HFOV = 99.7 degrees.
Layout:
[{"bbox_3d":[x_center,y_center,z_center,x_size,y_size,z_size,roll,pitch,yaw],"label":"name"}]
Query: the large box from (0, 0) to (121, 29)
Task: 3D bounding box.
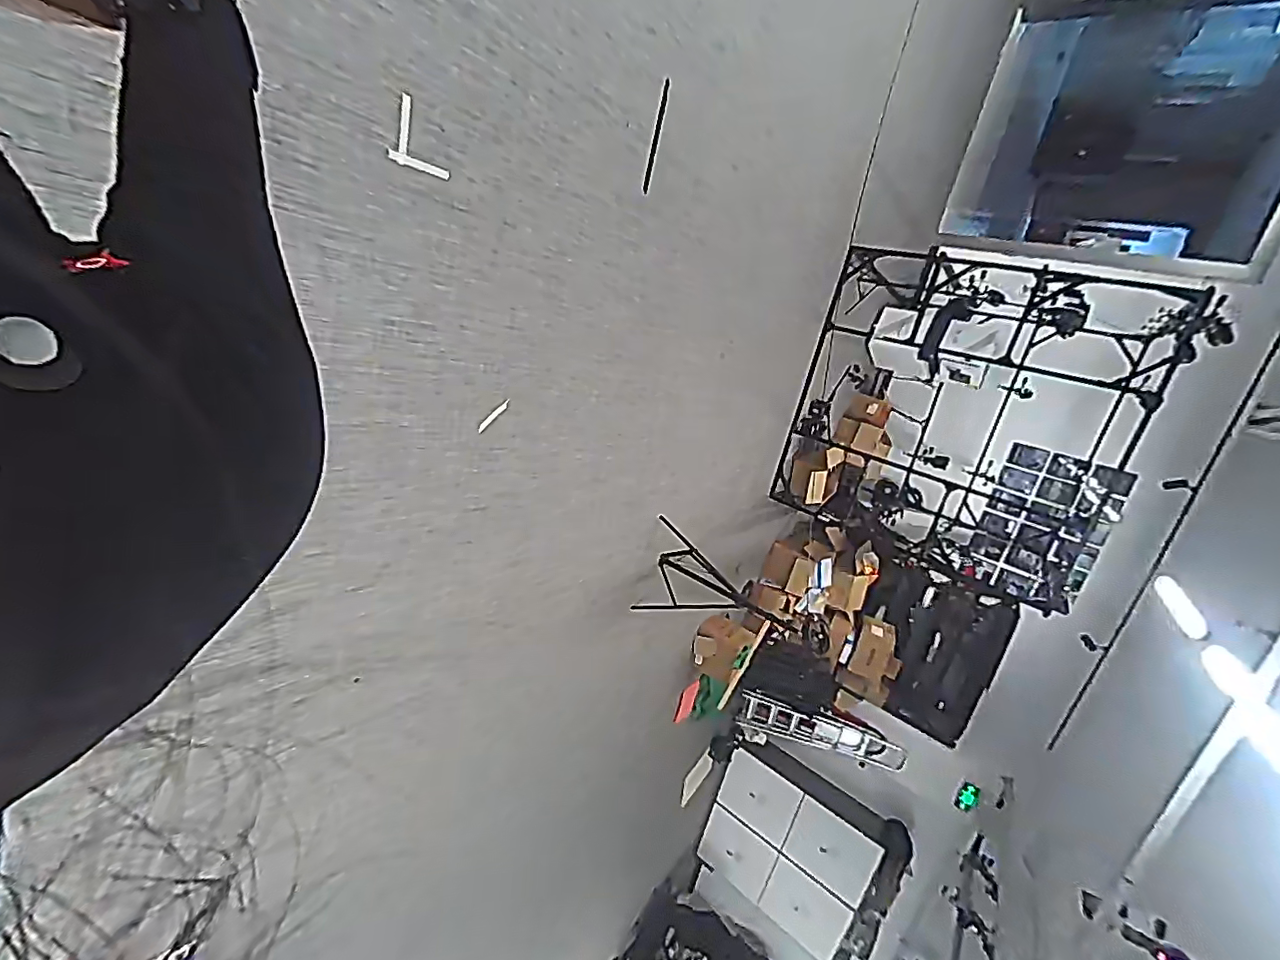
[{"bbox_3d":[-0.561,-0.505,0.255,0.408,0.320,0.320,-9,125,-54],"label":"large box"}]
